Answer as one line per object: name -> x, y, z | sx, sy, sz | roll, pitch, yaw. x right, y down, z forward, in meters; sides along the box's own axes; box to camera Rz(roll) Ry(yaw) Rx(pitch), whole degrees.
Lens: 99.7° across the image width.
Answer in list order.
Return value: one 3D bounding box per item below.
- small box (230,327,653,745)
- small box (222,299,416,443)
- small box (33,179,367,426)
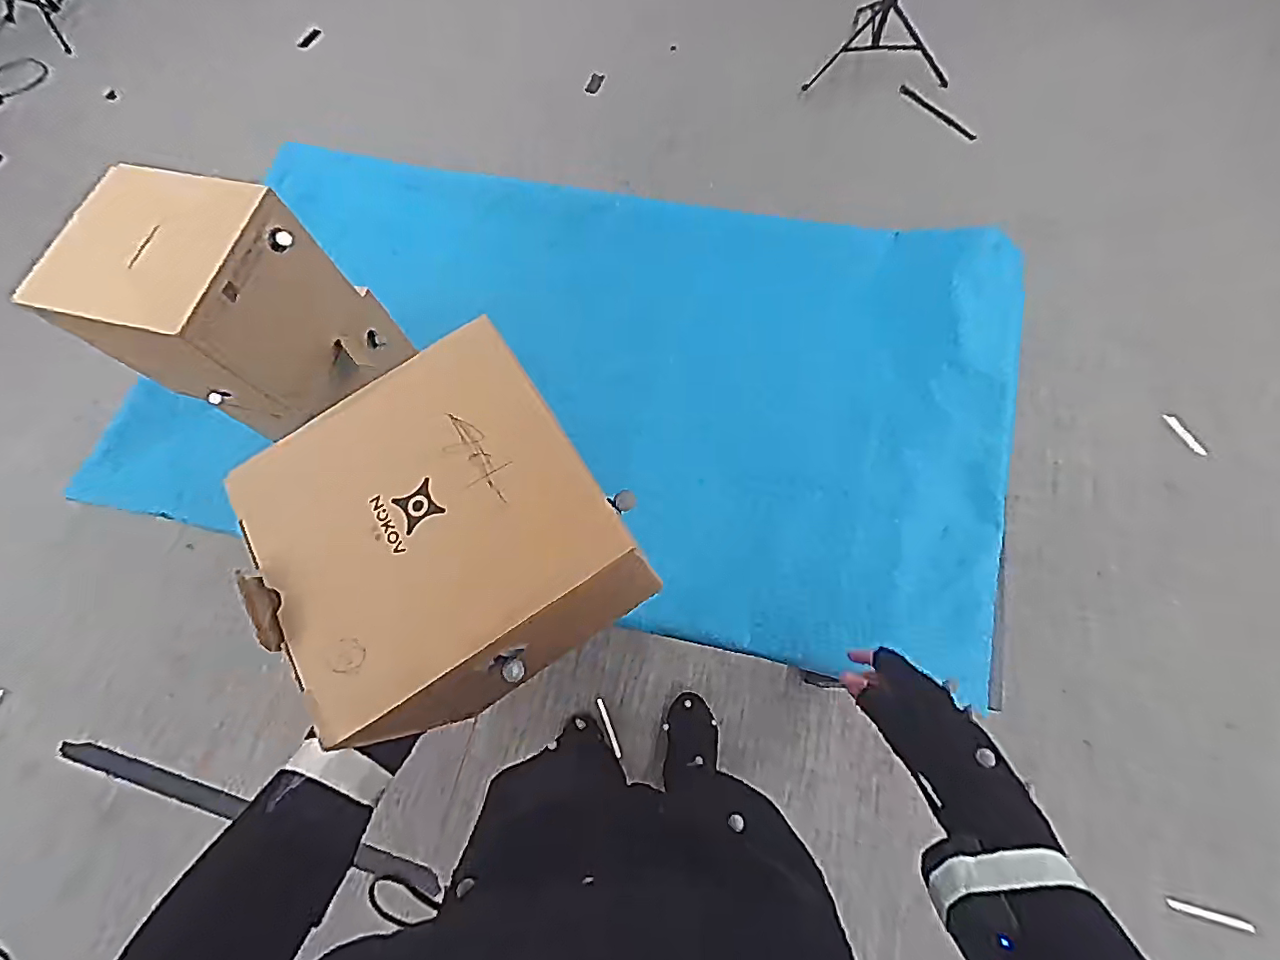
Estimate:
small box -> -0.109, 0.043, 0.359 | 0.179, 0.176, 0.168 | -32, 71, -2
small box -> -0.420, -0.132, 0.719 | 0.168, 0.176, 0.179 | 13, 74, 11
small box -> -0.433, -0.176, 0.559 | 0.179, 0.176, 0.168 | 12, 72, 9
